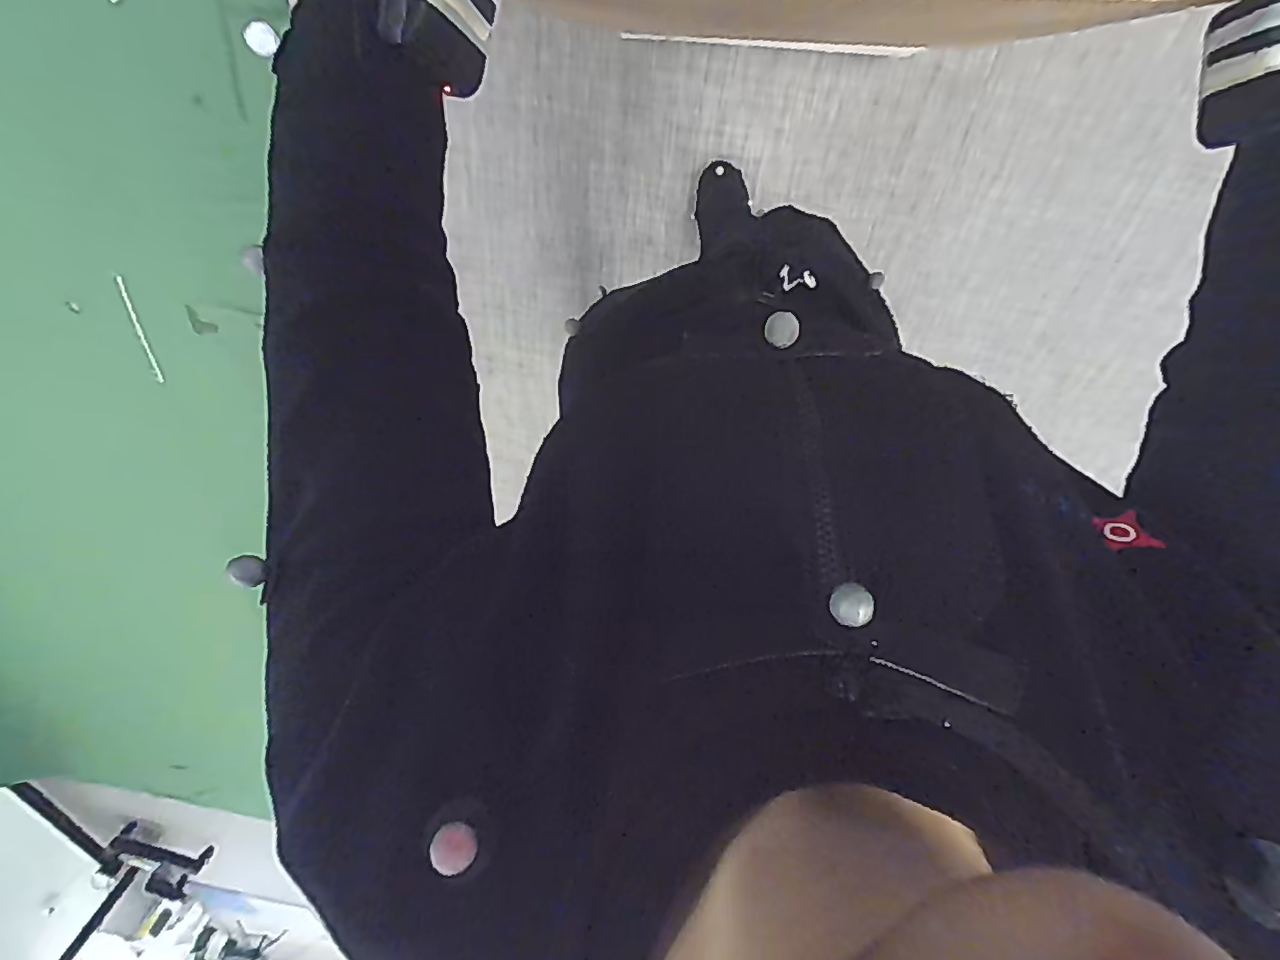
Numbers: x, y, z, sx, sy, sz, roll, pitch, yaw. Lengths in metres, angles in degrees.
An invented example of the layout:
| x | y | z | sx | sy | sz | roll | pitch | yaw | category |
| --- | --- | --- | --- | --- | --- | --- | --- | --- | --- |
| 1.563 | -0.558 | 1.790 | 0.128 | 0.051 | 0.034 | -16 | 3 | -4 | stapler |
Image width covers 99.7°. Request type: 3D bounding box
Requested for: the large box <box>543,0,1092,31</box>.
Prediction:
| x | y | z | sx | sy | sz | roll | pitch | yaw | category |
| --- | --- | --- | --- | --- | --- | --- | --- | --- | --- |
| 0.123 | -0.483 | 0.323 | 0.408 | 0.320 | 0.320 | 5 | 127 | 4 | large box |
